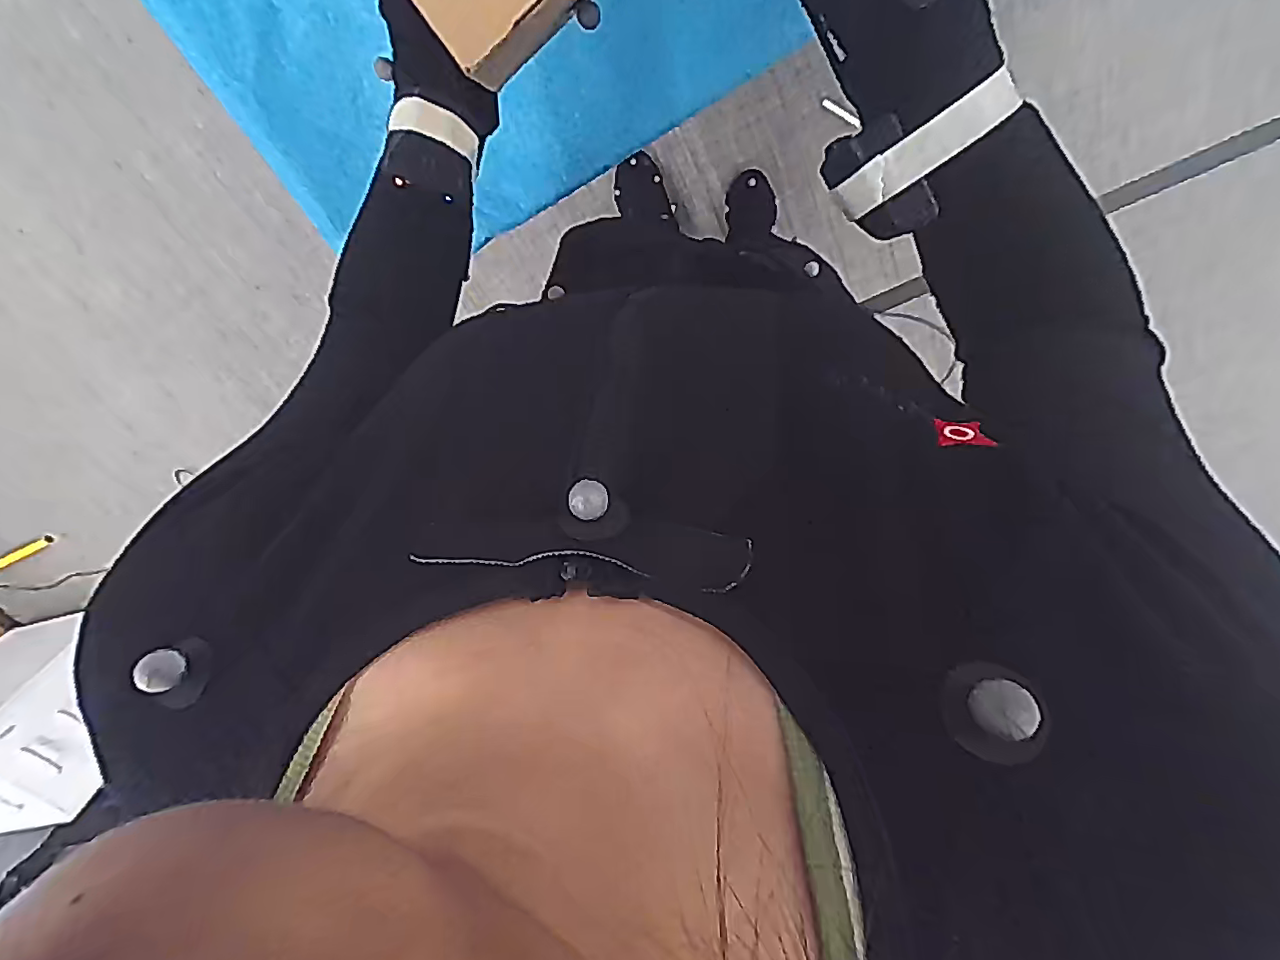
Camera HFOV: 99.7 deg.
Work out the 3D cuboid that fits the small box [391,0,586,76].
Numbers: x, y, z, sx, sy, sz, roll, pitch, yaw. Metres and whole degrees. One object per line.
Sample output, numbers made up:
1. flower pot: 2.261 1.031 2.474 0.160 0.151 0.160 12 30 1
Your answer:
1. small box: -0.088 -0.349 0.282 0.168 0.176 0.179 -31 125 13
